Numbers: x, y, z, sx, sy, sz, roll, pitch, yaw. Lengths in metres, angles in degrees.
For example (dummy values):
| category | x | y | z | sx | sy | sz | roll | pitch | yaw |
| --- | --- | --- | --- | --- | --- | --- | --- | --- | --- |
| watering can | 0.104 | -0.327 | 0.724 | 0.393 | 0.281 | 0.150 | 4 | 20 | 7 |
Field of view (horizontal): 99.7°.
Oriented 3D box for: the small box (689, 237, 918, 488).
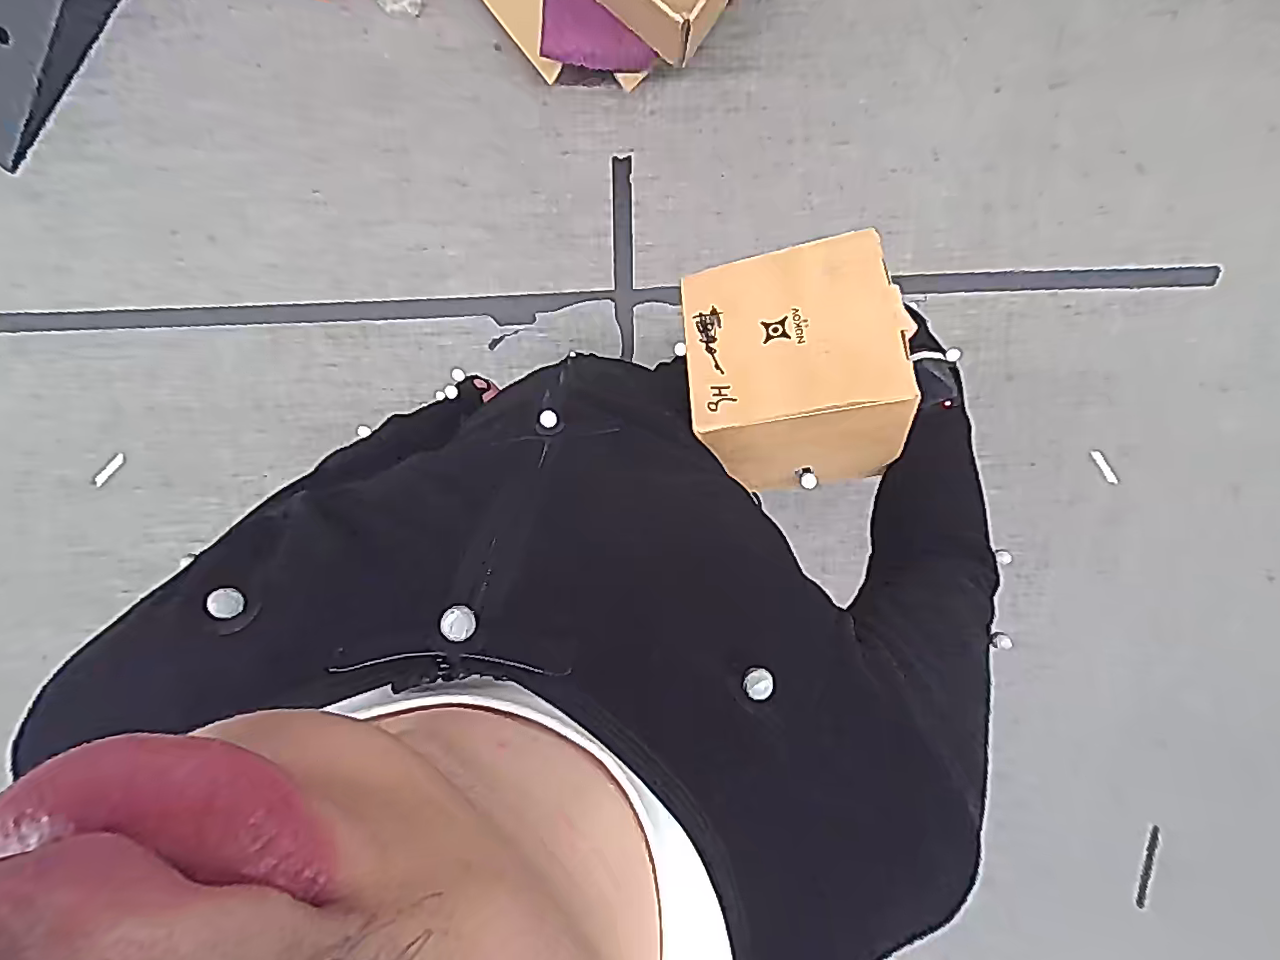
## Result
| category | x | y | z | sx | sy | sz | roll | pitch | yaw |
| --- | --- | --- | --- | --- | --- | --- | --- | --- | --- |
| small box | 0.154 | -0.102 | 0.542 | 0.179 | 0.176 | 0.168 | -8 | 67 | 15 |
